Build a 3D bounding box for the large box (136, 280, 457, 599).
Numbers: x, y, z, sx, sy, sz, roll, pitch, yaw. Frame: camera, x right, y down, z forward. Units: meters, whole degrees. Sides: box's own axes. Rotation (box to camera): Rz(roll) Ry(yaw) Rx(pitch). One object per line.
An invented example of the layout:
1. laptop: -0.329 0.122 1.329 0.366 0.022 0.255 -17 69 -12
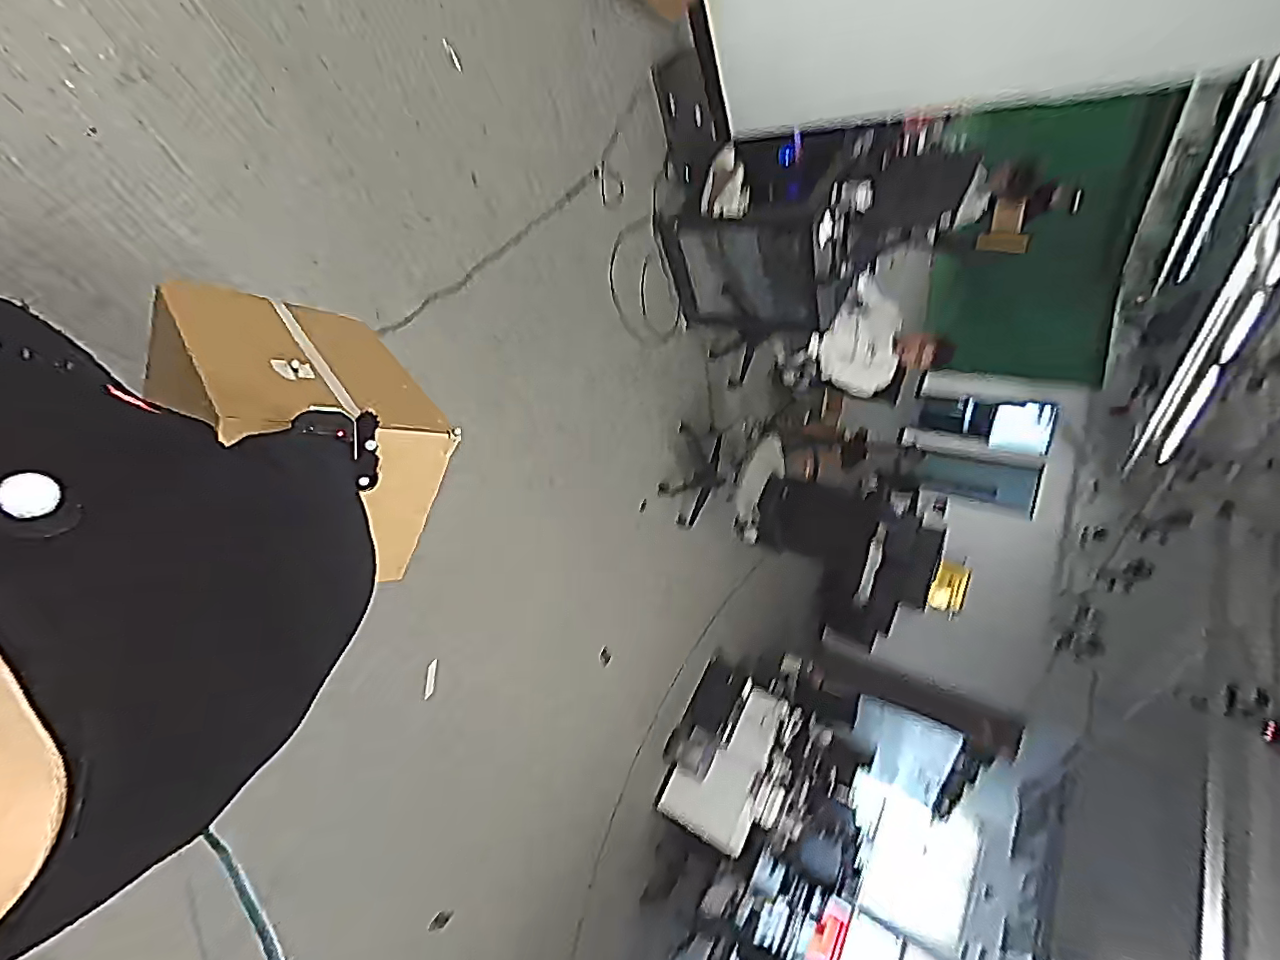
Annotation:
1. large box: -0.586 -0.072 0.907 0.320 0.408 0.320 -3 130 -52
